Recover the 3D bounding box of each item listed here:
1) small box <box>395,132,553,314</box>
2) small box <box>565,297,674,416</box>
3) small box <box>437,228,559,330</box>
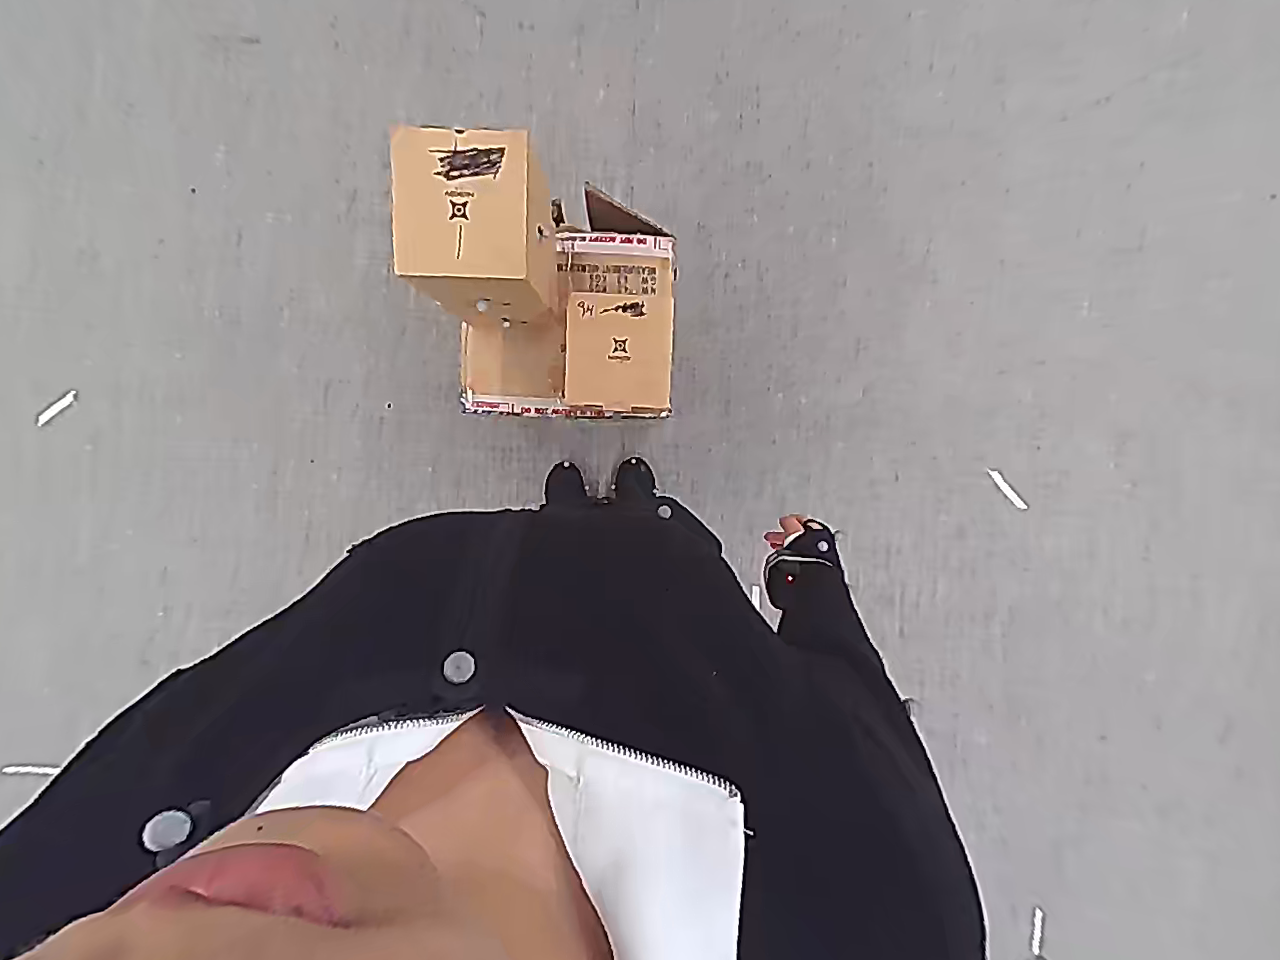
[{"bbox_3d":[-0.214,-0.335,0.734,0.168,0.176,0.179,2,96,1],"label":"small box"},{"bbox_3d":[-0.035,-0.199,0.913,0.168,0.176,0.179,2,96,-3],"label":"small box"},{"bbox_3d":[-0.230,-0.355,0.897,0.168,0.176,0.179,-1,96,1],"label":"small box"}]
